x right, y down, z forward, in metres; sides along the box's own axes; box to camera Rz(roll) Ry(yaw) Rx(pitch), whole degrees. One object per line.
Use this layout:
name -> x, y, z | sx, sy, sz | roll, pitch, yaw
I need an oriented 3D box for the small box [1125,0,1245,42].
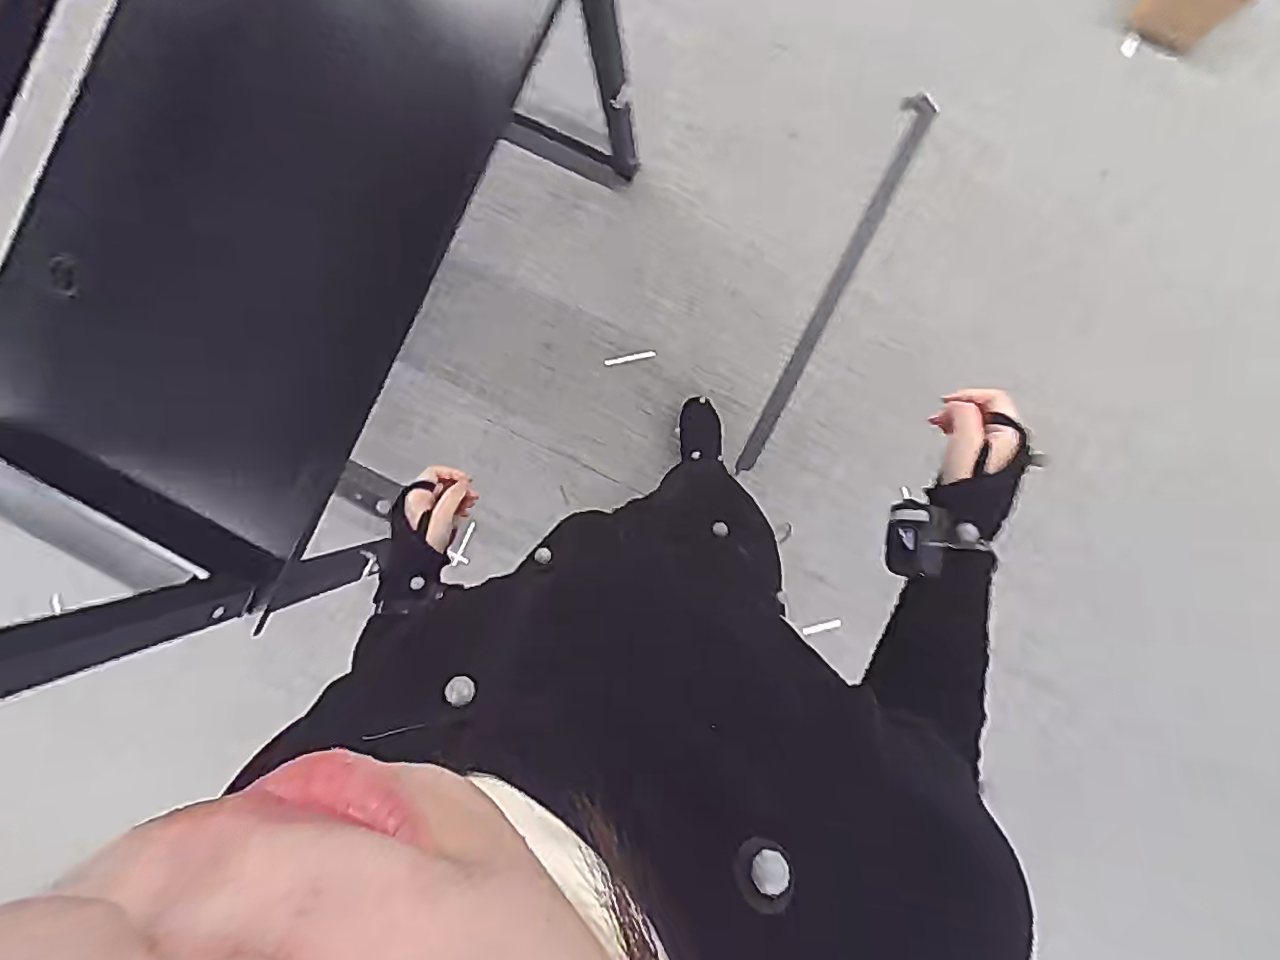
small box -> 1.339, -1.205, 1.290 | 0.179, 0.176, 0.168 | 25, 93, 1
